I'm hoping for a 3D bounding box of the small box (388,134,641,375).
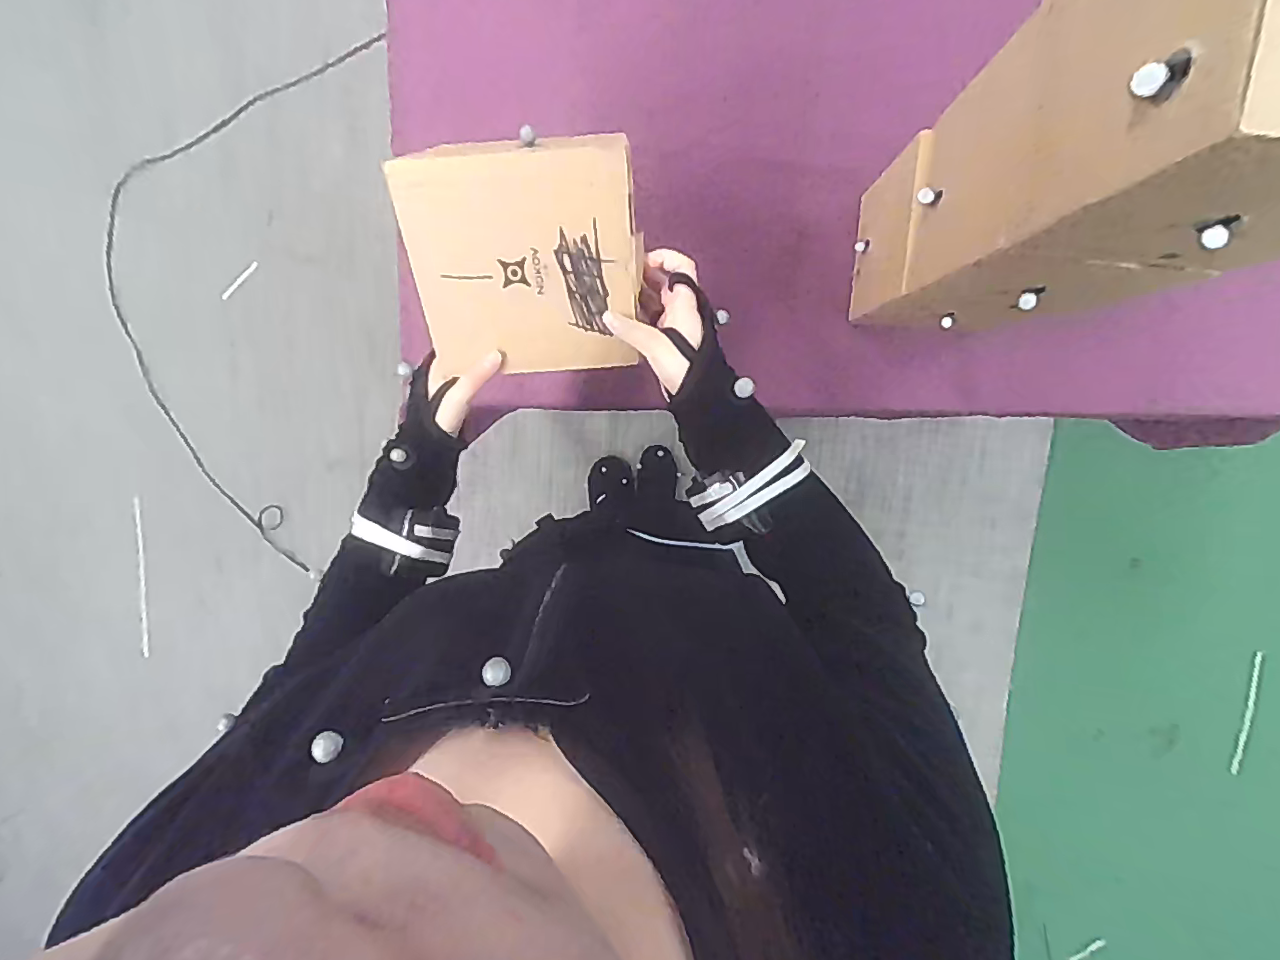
[{"bbox_3d":[-0.092,-0.208,0.489,0.179,0.176,0.168,-3,126,0],"label":"small box"}]

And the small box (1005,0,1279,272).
[{"bbox_3d":[0.350,-0.233,0.310,0.168,0.176,0.179,6,96,1],"label":"small box"}]

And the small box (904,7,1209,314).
[{"bbox_3d":[0.358,-0.253,0.474,0.168,0.176,0.179,8,98,1],"label":"small box"}]
